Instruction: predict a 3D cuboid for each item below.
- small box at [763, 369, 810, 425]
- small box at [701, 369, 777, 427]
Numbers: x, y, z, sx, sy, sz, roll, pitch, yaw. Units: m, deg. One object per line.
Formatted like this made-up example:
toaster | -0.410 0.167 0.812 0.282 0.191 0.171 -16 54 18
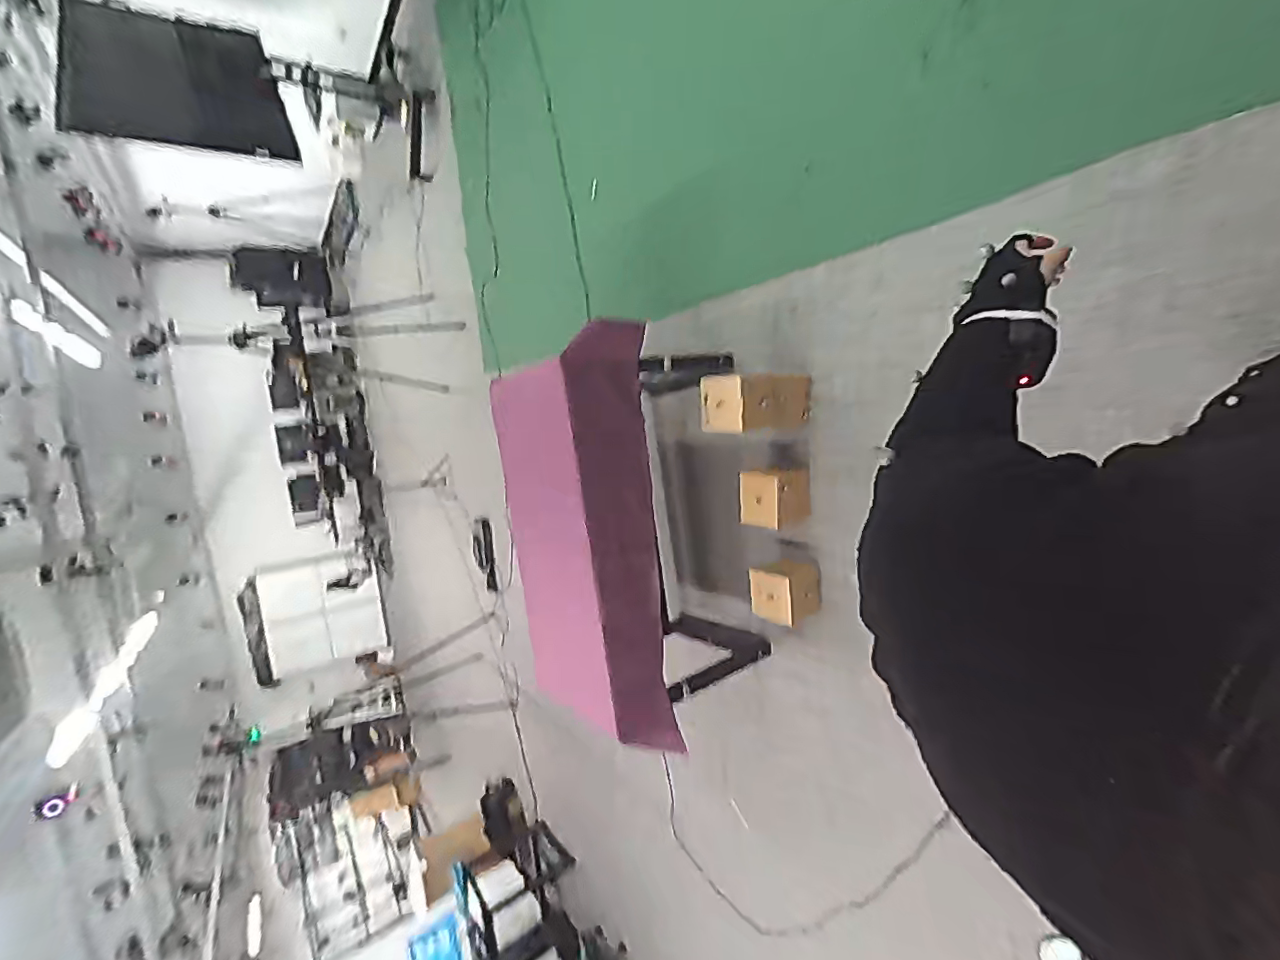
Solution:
small box | 0.444 -0.281 1.801 0.179 0.176 0.168 19 114 52
small box | 0.315 -0.260 1.700 0.179 0.176 0.168 11 108 52
